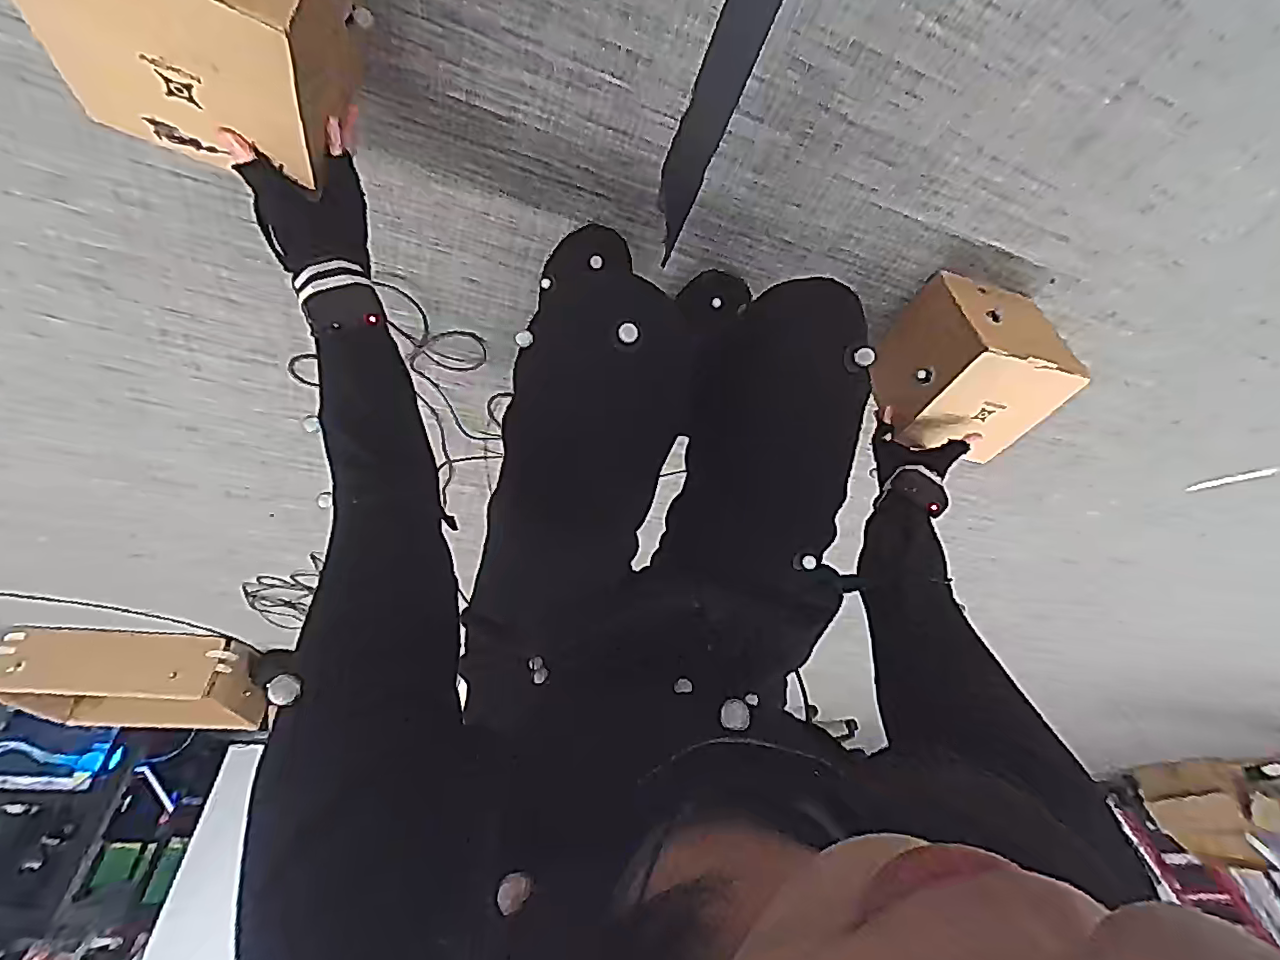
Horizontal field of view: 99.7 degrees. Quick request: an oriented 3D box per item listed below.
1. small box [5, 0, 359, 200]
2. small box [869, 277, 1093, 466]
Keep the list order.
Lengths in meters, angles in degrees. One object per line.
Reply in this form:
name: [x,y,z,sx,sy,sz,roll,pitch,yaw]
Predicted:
small box: [-0.318,-0.361,0.397,0.168,0.176,0.179,15,163,-23]
small box: [0.448,-0.148,0.747,0.168,0.176,0.179,11,141,-13]
